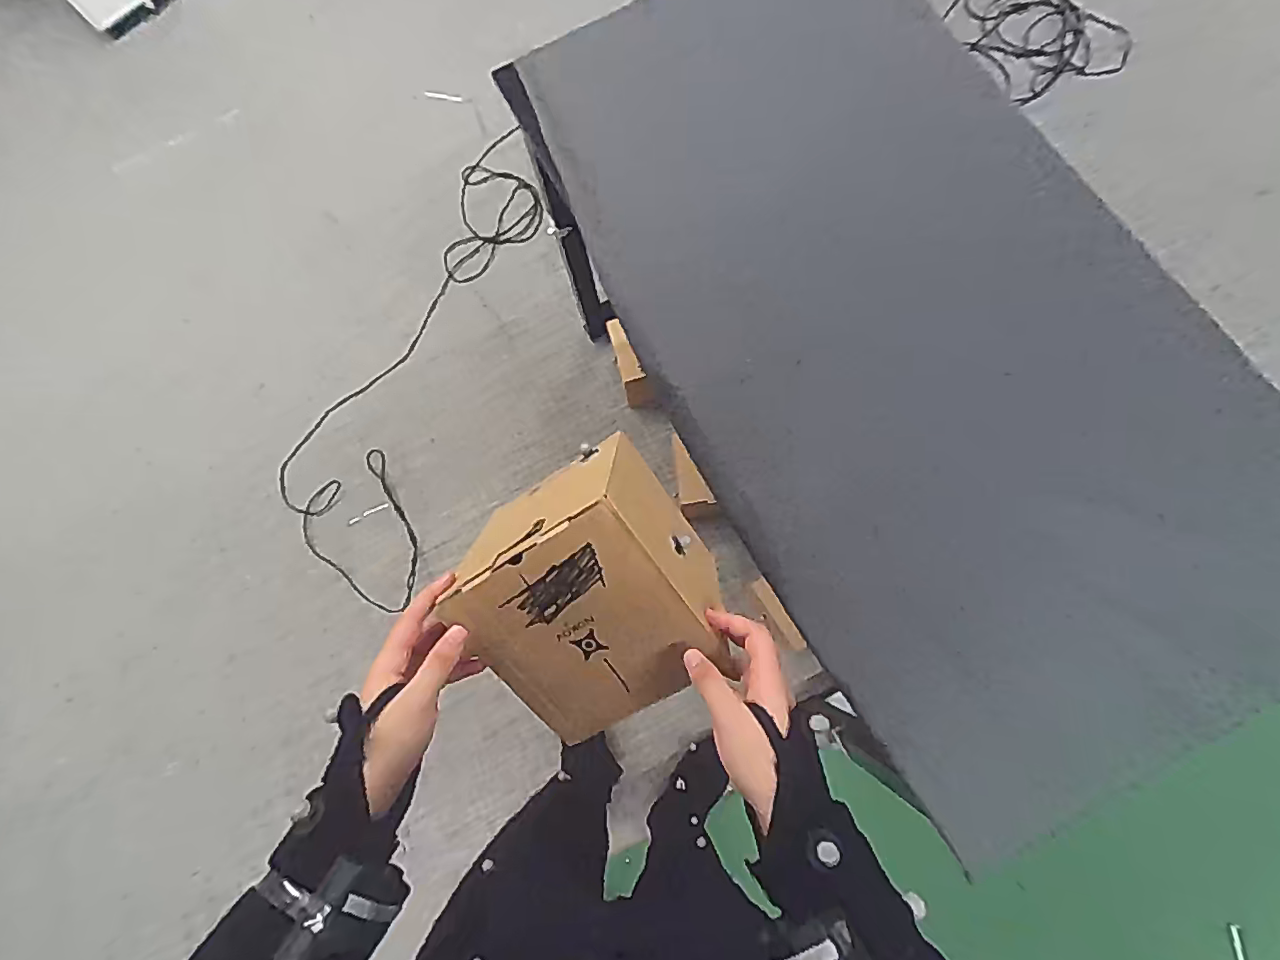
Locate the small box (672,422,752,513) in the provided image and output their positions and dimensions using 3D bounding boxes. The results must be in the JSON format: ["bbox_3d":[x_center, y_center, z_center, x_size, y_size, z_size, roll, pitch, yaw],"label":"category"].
[{"bbox_3d":[0.170,-0.021,1.315,0.168,0.176,0.179,-8,73,1],"label":"small box"}]

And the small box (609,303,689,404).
[{"bbox_3d":[0.024,-0.323,1.405,0.168,0.176,0.179,-16,74,0],"label":"small box"}]

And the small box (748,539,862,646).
[{"bbox_3d":[0.361,0.258,1.225,0.179,0.176,0.168,-32,76,-5],"label":"small box"}]

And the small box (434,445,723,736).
[{"bbox_3d":[-0.045,0.085,0.500,0.168,0.176,0.179,-33,107,14],"label":"small box"}]
